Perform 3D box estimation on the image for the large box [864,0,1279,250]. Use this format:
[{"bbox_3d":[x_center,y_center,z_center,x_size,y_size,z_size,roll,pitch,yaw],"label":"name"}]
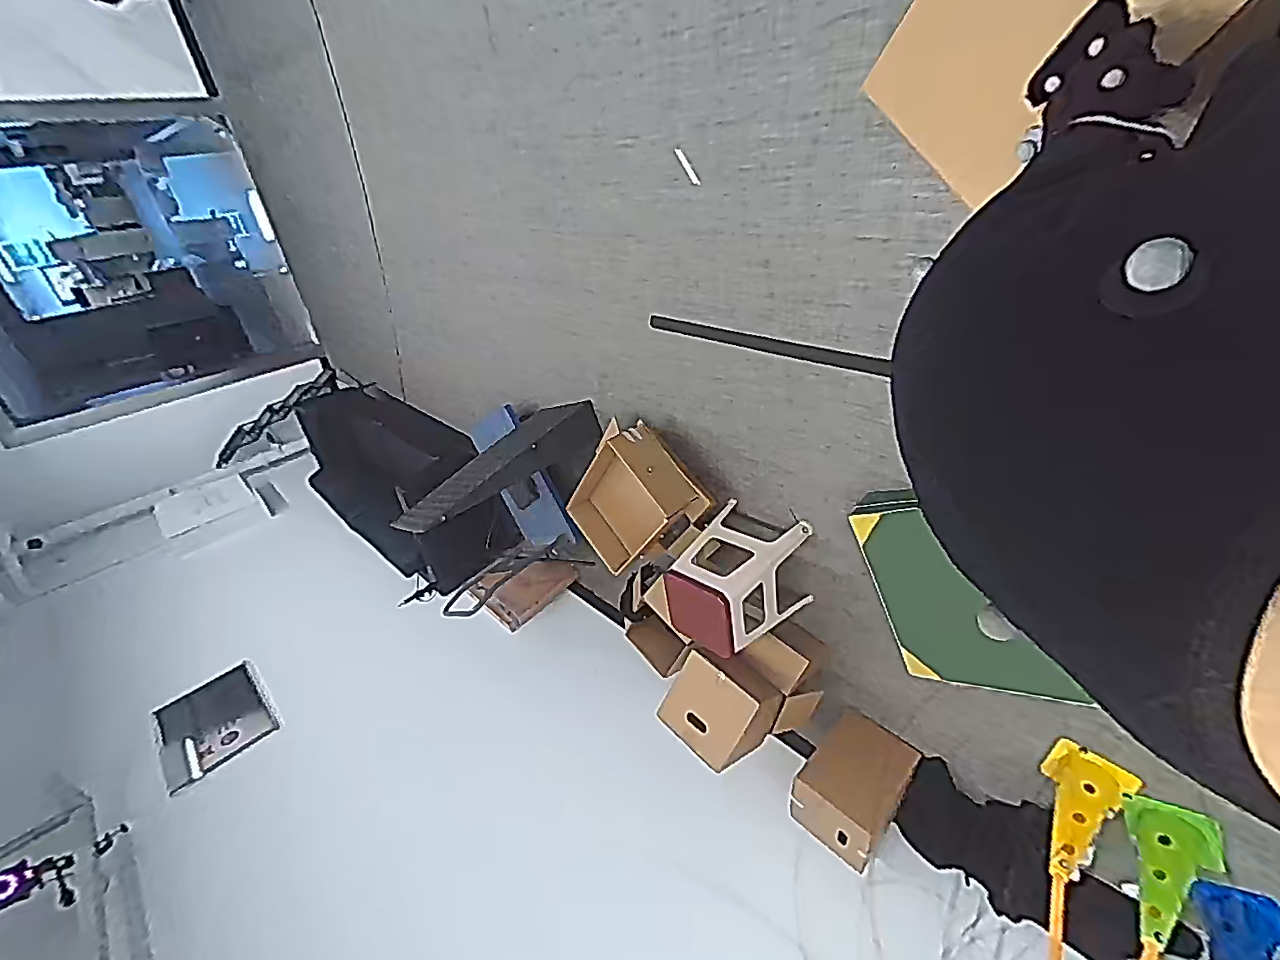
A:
[{"bbox_3d":[0.585,-0.522,0.680,0.320,0.408,0.320,66,150,20],"label":"large box"}]
